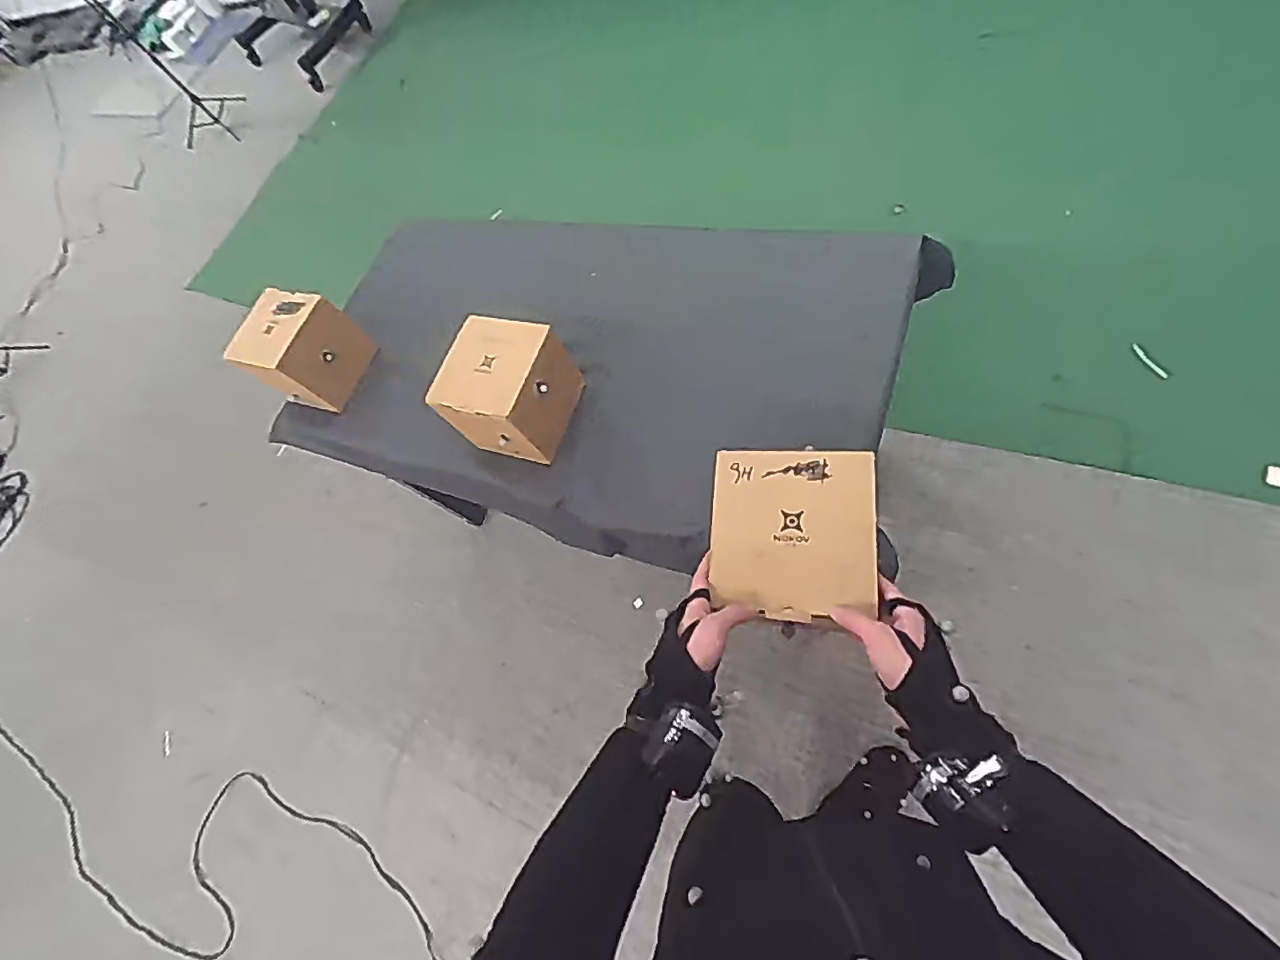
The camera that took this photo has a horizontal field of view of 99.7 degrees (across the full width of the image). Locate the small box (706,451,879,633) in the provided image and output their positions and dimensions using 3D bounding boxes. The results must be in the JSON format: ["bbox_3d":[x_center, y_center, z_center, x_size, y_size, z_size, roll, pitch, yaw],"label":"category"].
[{"bbox_3d":[0.176,0.077,0.618,0.168,0.176,0.179,1,72,17],"label":"small box"}]

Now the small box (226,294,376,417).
[{"bbox_3d":[-0.690,-0.257,1.125,0.168,0.176,0.179,13,71,22],"label":"small box"}]

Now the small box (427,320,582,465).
[{"bbox_3d":[-0.219,-0.145,0.927,0.168,0.176,0.179,13,69,21],"label":"small box"}]
